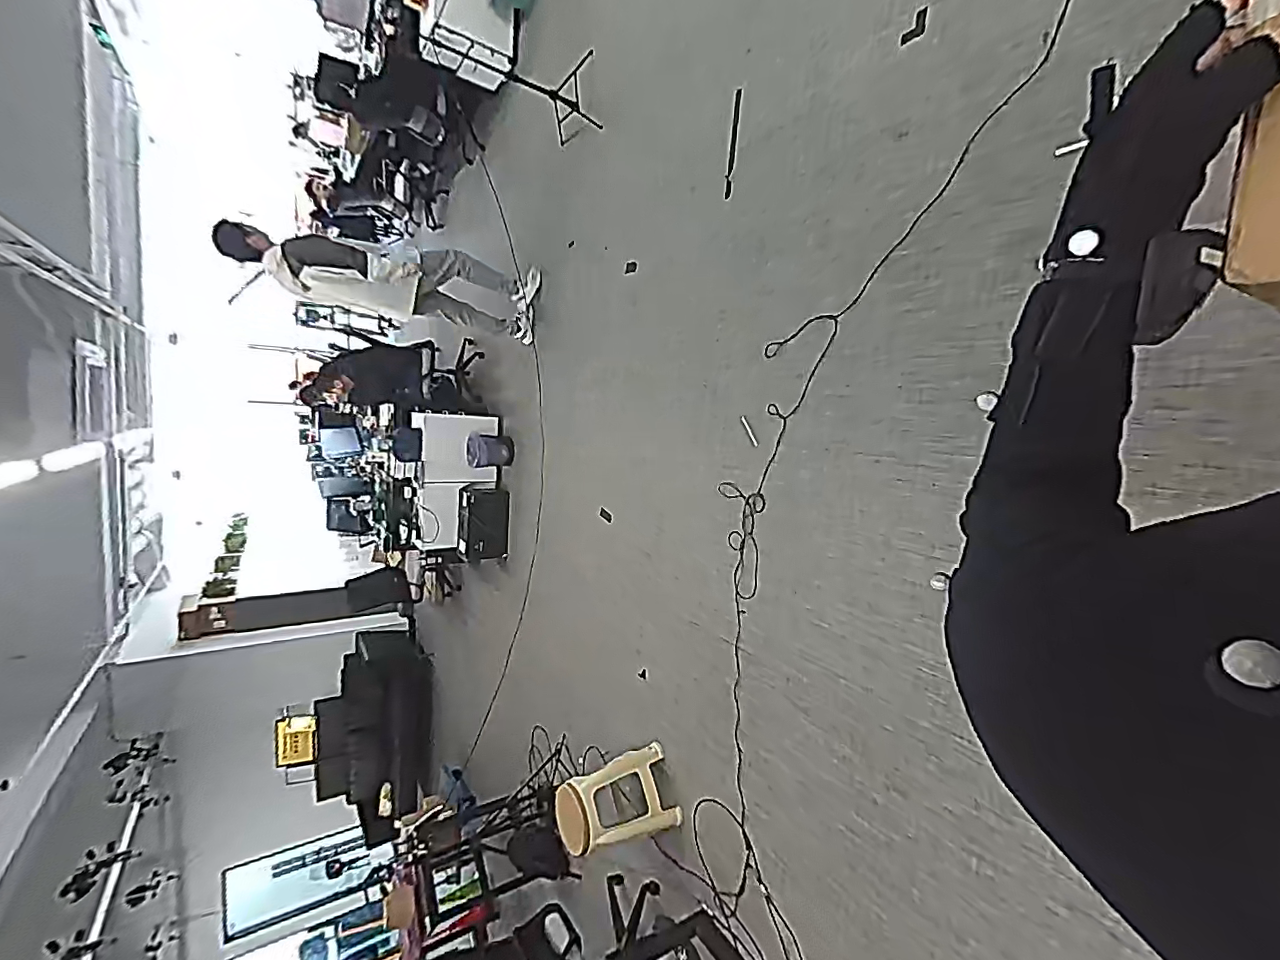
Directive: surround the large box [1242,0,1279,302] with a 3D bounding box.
[{"bbox_3d":[0.600,-0.268,0.240,0.408,0.320,0.320,11,107,53],"label":"large box"}]
